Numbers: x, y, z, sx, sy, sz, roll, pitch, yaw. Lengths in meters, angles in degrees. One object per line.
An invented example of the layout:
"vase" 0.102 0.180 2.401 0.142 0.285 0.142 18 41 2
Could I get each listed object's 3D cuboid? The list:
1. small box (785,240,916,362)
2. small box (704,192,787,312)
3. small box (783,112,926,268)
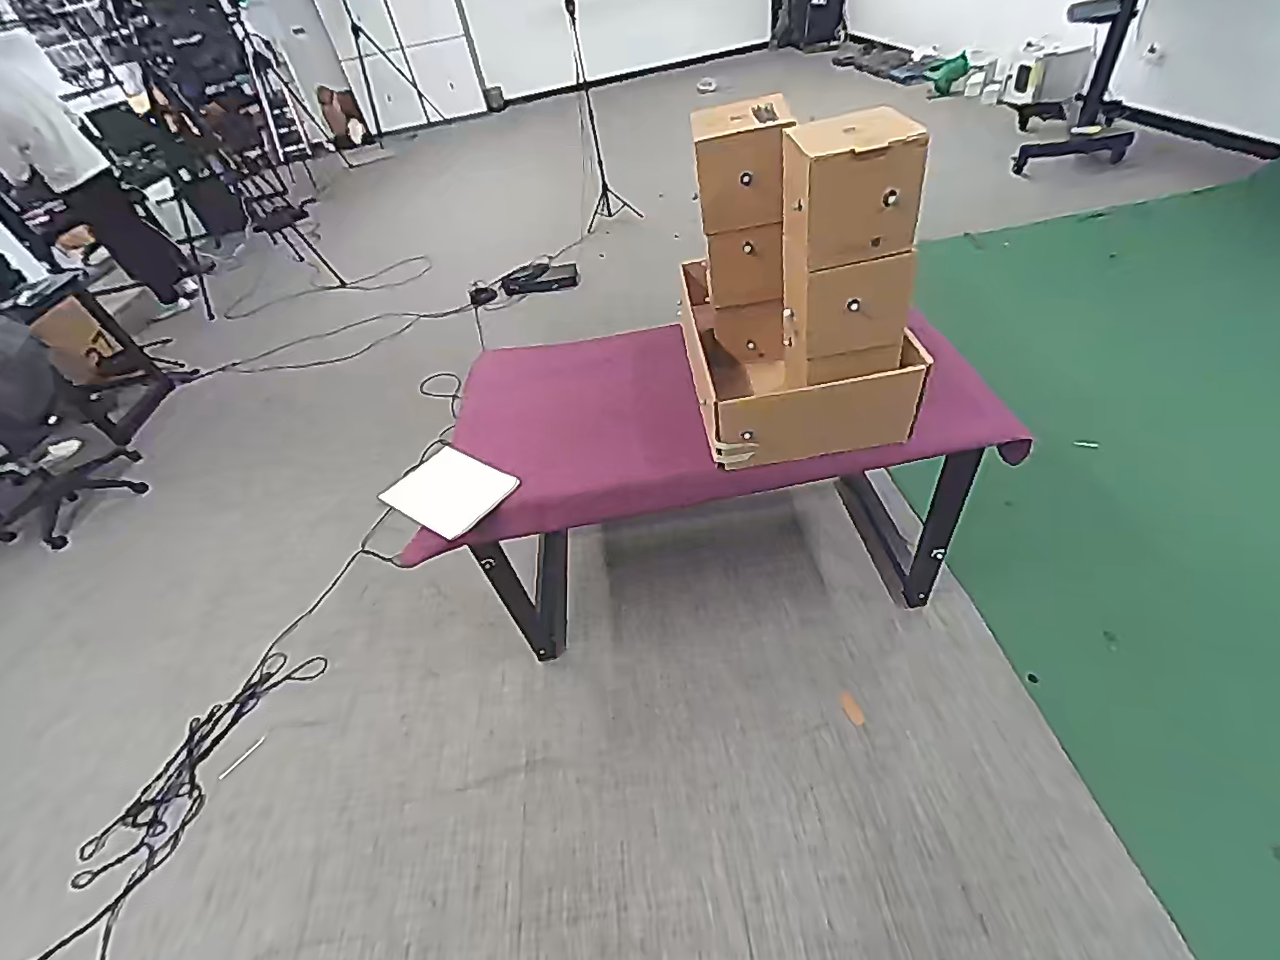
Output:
"small box" 0.364 -0.337 0.971 0.179 0.176 0.168 -10 44 7
"small box" 0.234 -0.485 1.160 0.179 0.176 0.168 -6 48 9
"small box" 0.331 -0.455 0.864 0.168 0.176 0.179 -9 43 7
